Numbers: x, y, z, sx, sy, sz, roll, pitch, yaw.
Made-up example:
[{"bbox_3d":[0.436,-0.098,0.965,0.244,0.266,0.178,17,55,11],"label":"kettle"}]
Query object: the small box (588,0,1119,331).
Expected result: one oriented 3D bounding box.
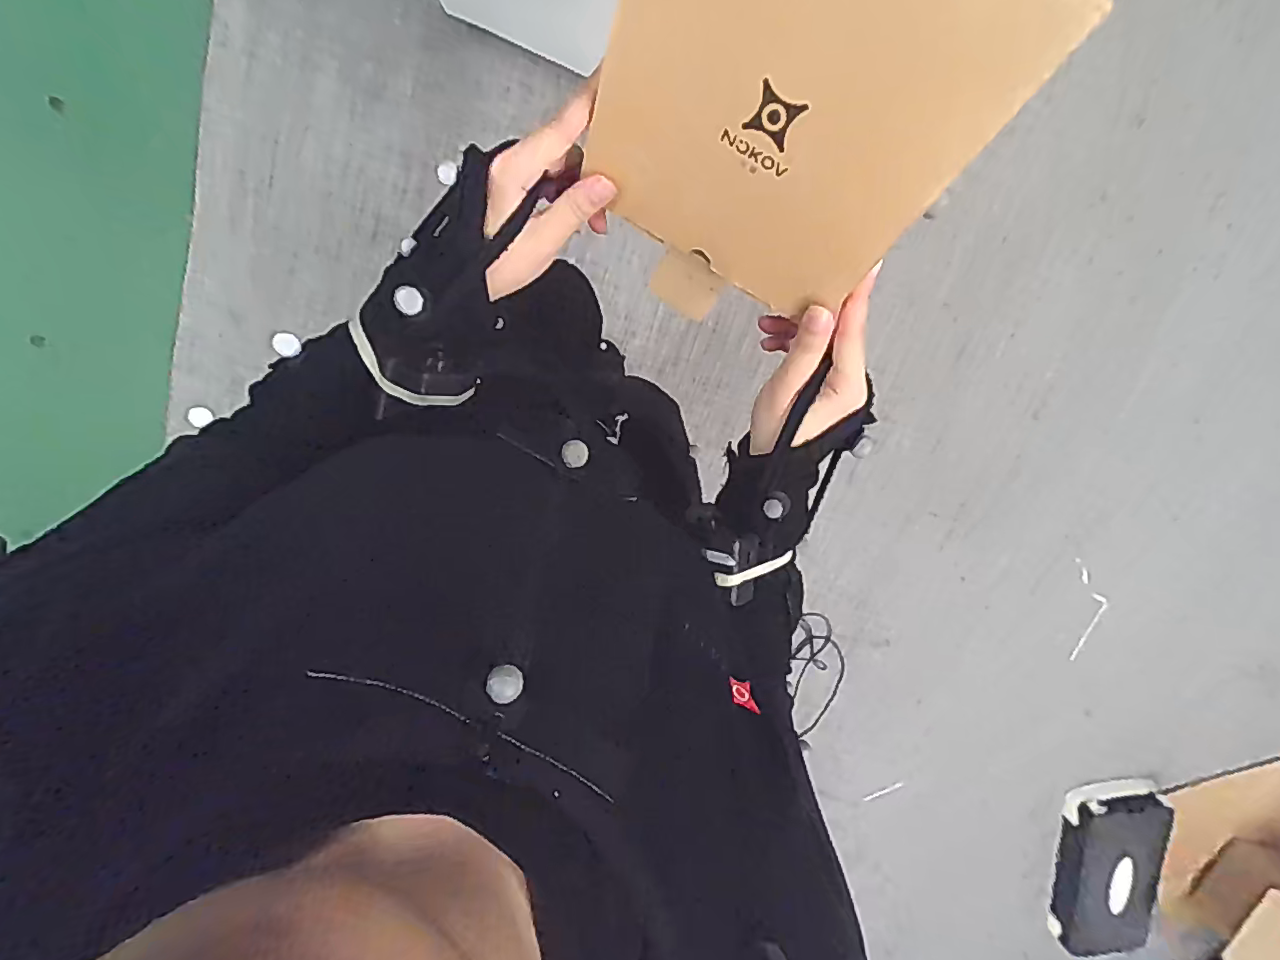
[{"bbox_3d":[0.095,-0.225,0.285,0.168,0.179,0.176,29,62,-4],"label":"small box"}]
